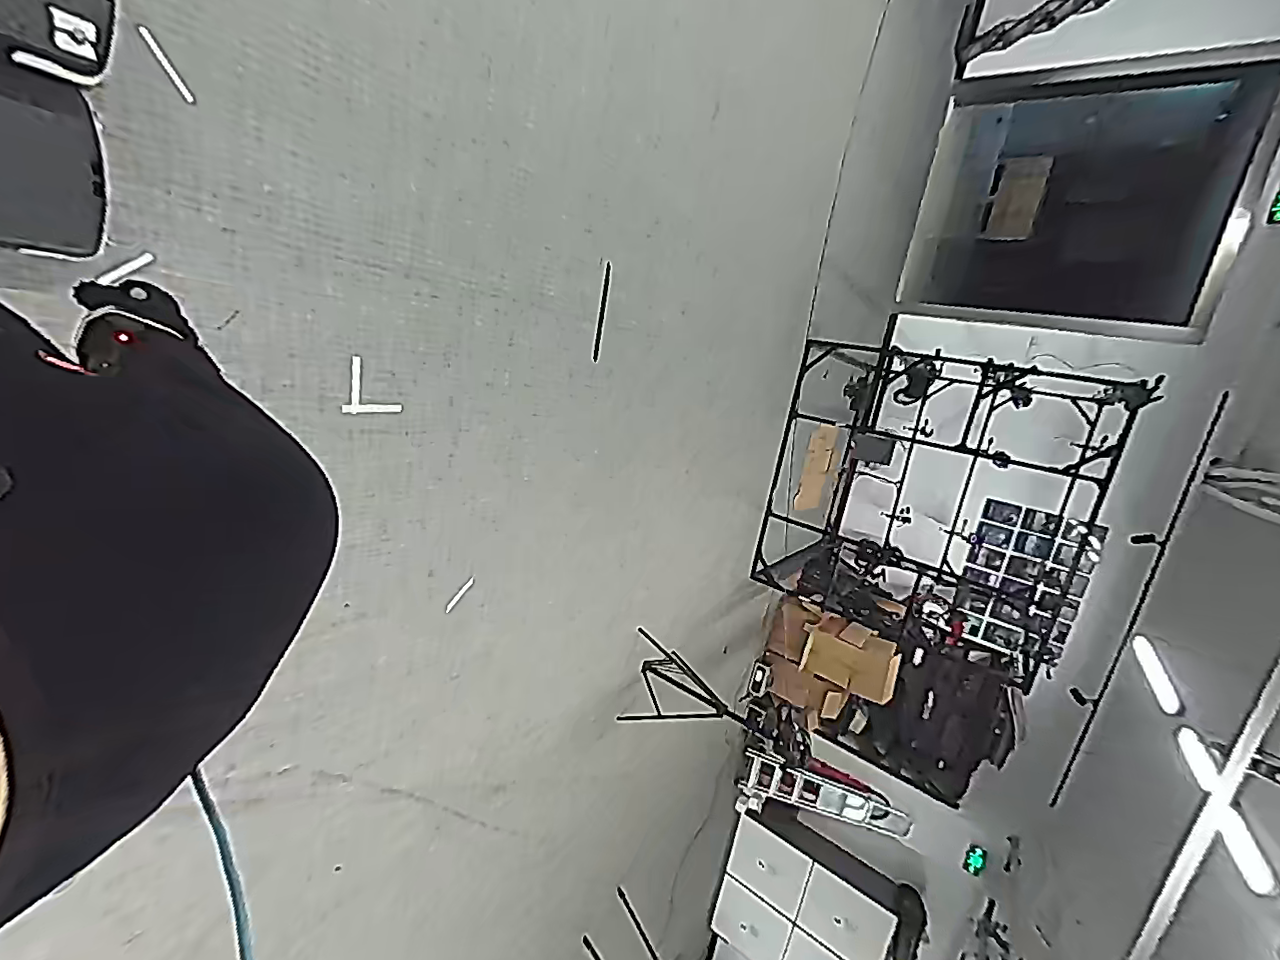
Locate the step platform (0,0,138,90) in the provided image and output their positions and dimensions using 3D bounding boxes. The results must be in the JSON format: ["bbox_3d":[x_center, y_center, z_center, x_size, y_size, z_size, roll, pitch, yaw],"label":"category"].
[{"bbox_3d":[-1.069,-0.778,0.649,0.684,0.204,0.286,-11,114,-55],"label":"step platform"}]
